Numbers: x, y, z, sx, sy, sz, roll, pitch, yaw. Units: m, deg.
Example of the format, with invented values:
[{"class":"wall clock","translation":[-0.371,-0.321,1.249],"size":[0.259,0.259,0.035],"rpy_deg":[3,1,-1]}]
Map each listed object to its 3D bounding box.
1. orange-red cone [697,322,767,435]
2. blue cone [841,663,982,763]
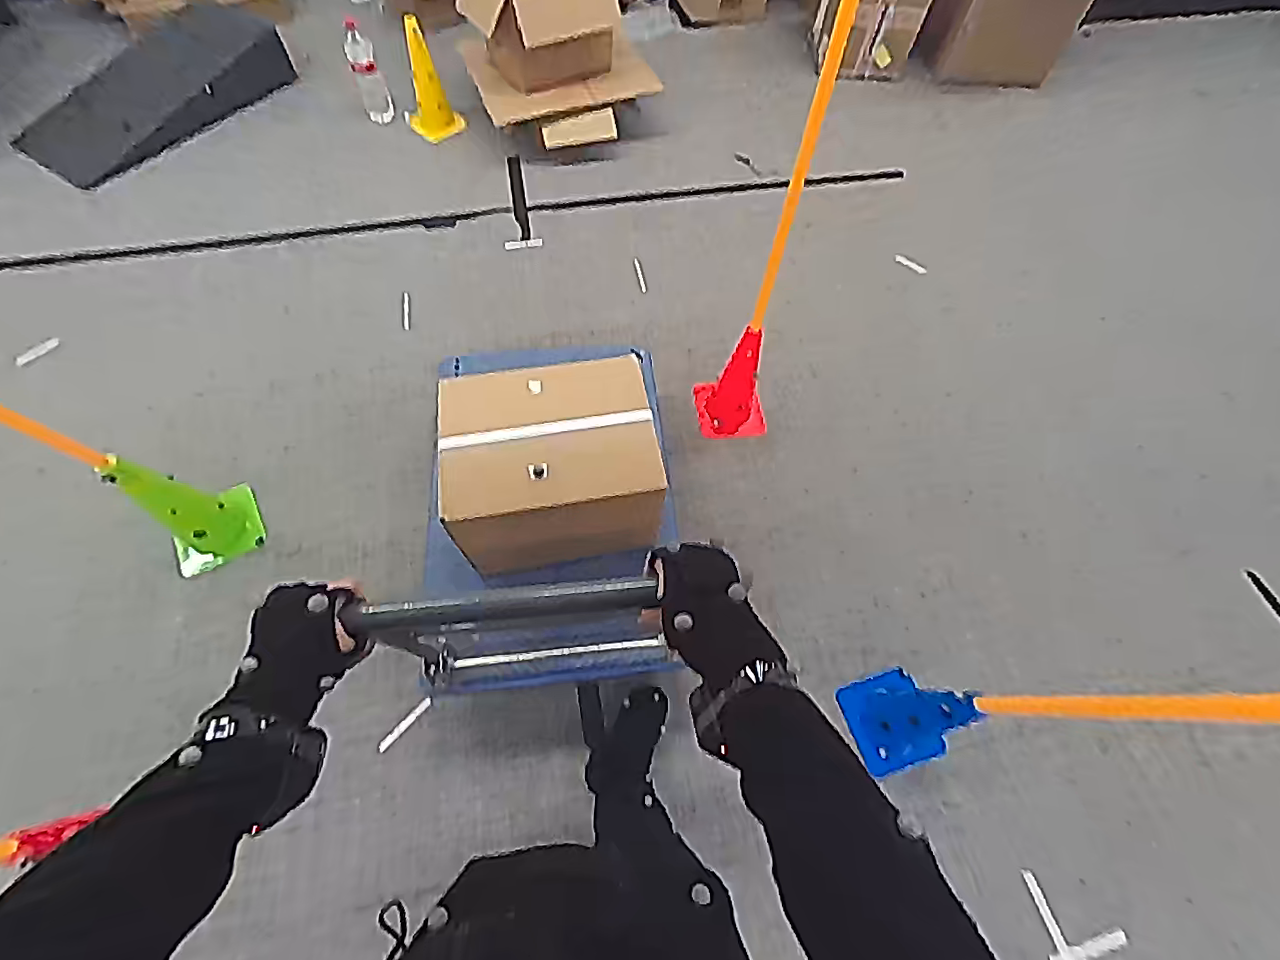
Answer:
[{"class":"orange-red cone","translation":[0.288,-0.302,1.503],"size":[0.199,0.360,0.198],"rpy_deg":[-3,63,-6]},{"class":"blue cone","translation":[0.596,0.471,1.131],"size":[0.193,0.380,0.192],"rpy_deg":[-13,63,-10]}]
